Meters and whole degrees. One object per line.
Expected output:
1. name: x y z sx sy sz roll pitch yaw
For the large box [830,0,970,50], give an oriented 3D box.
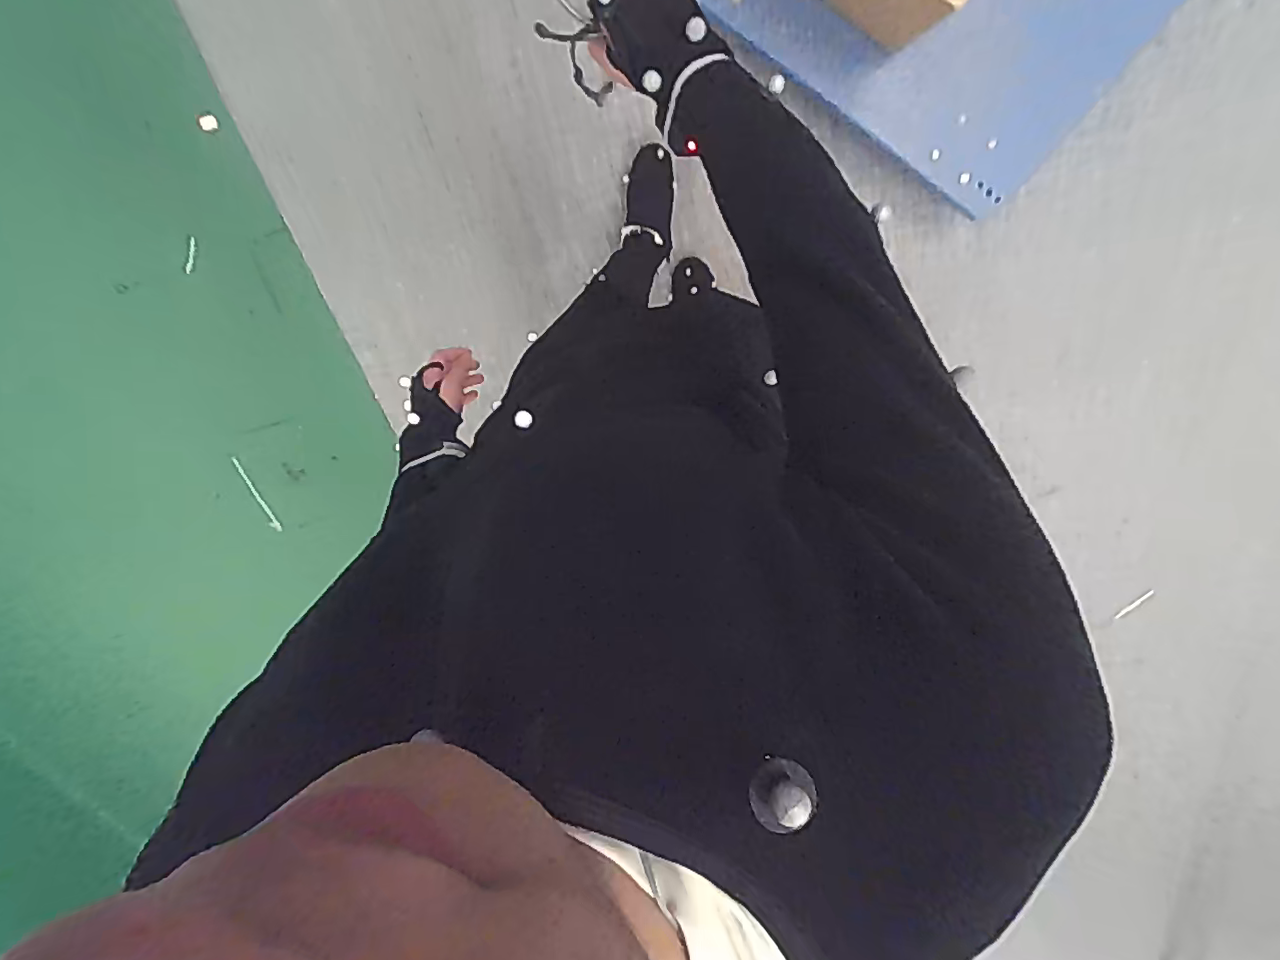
1. large box: 0.381 -0.947 0.796 0.408 0.320 0.320 30 119 -10
